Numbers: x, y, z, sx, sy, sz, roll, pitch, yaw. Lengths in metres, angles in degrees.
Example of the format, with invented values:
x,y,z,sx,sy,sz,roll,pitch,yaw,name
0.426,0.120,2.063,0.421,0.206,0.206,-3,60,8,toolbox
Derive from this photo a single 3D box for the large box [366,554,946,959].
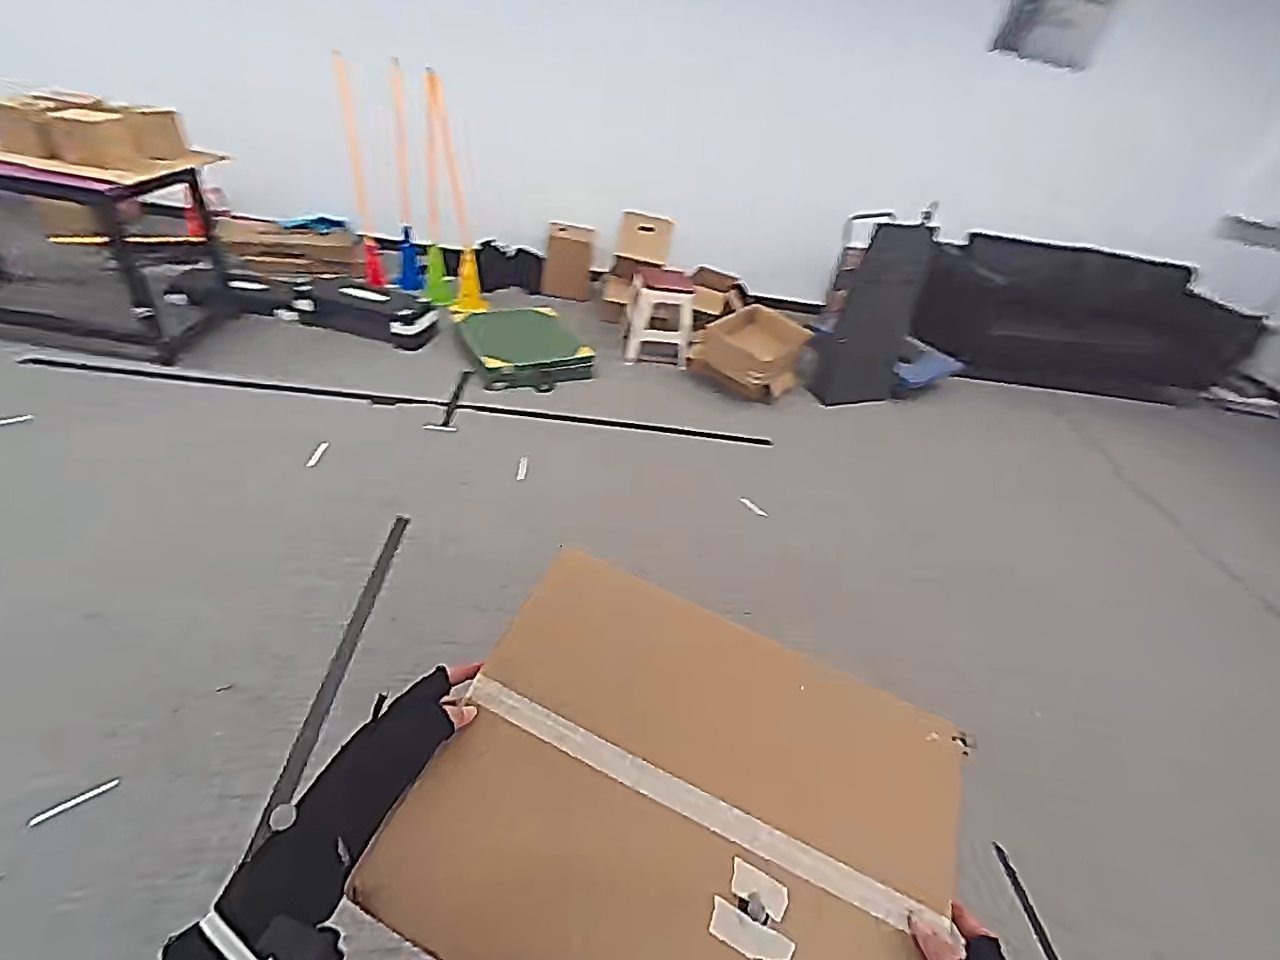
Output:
x,y,z,sx,sy,sz,roll,pitch,yaw,name
0.024,0.344,0.559,0.408,0.320,0.320,23,55,10,large box
